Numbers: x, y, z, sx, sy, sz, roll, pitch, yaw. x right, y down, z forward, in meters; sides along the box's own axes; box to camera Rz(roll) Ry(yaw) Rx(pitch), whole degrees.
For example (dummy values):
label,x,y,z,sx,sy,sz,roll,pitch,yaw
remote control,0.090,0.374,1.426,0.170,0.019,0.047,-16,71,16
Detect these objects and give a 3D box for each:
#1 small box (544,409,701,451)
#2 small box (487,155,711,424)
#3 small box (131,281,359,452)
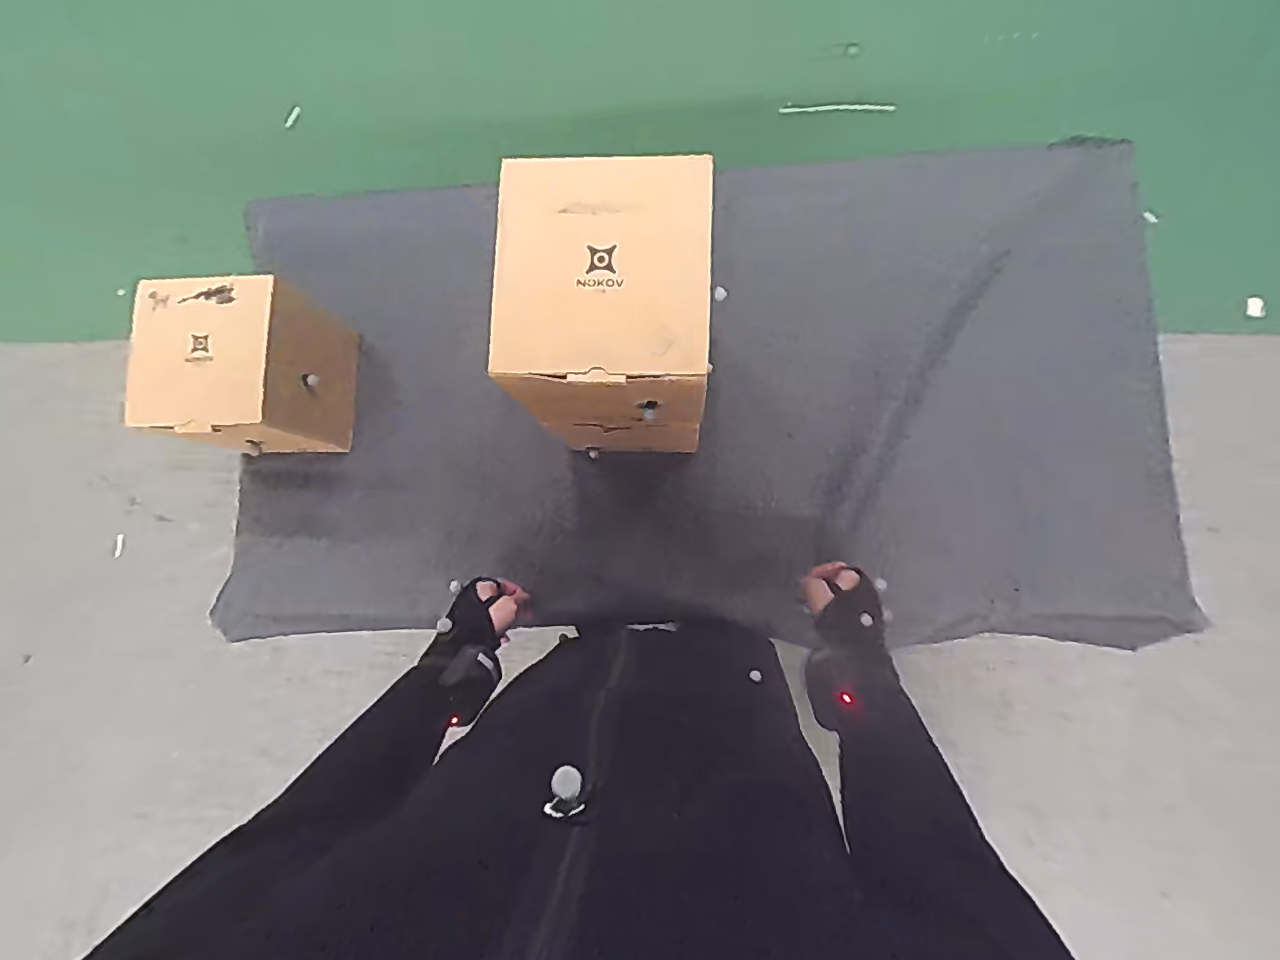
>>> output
label,x,y,z,sx,sy,sz,roll,pitch,yaw
small box,-0.009,-0.131,0.641,0.168,0.176,0.179,1,83,5
small box,-0.024,-0.149,0.481,0.168,0.176,0.179,1,83,4
small box,-0.480,-0.129,0.682,0.168,0.176,0.179,-1,84,4
